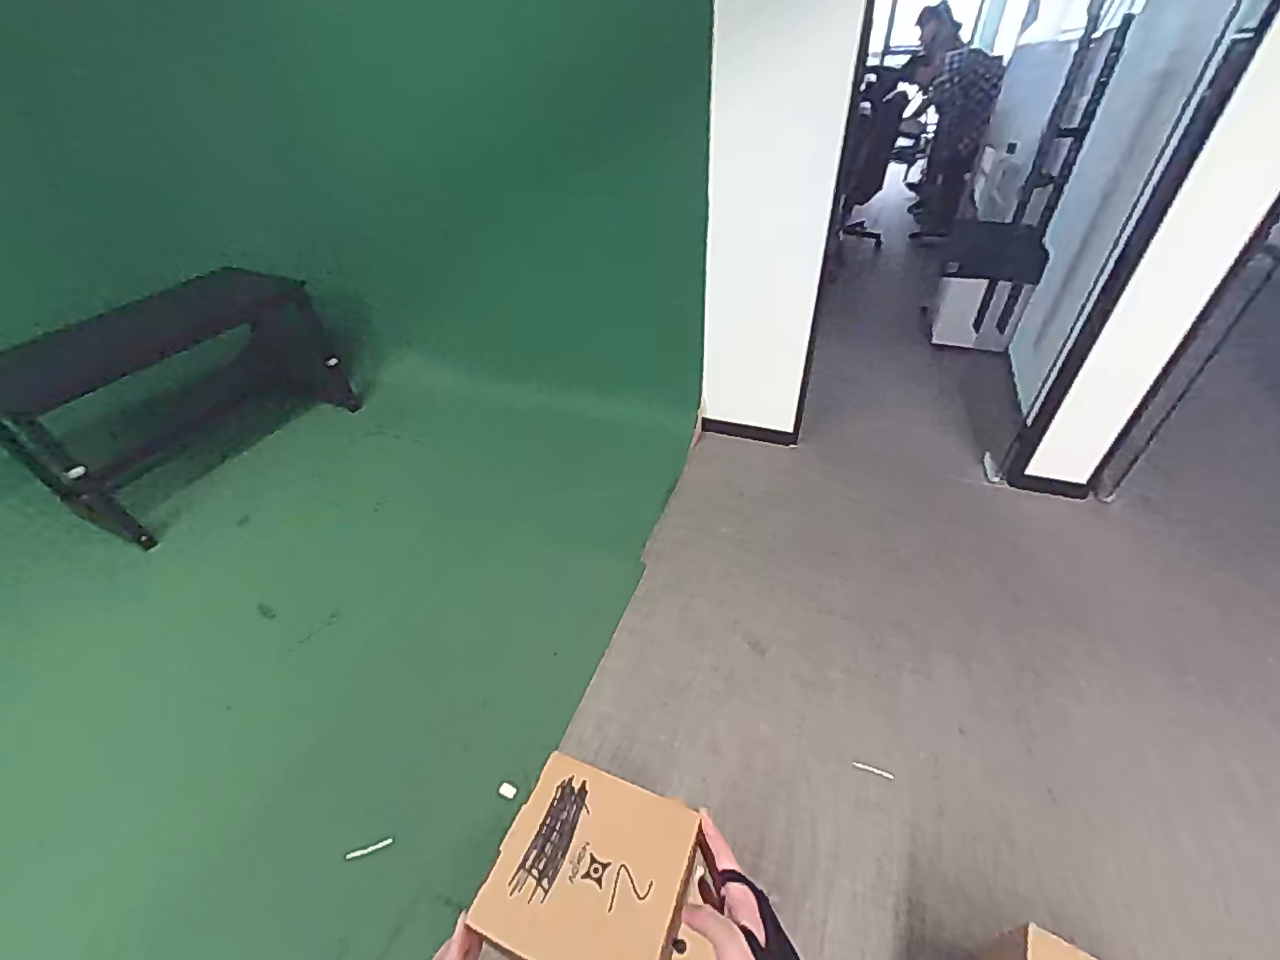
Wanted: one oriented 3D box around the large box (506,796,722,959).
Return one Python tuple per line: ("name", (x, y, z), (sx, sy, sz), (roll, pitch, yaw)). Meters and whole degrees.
("large box", (-0.059, 0.966, 1.200), (0.408, 0.320, 0.320), (-11, 41, -6))
